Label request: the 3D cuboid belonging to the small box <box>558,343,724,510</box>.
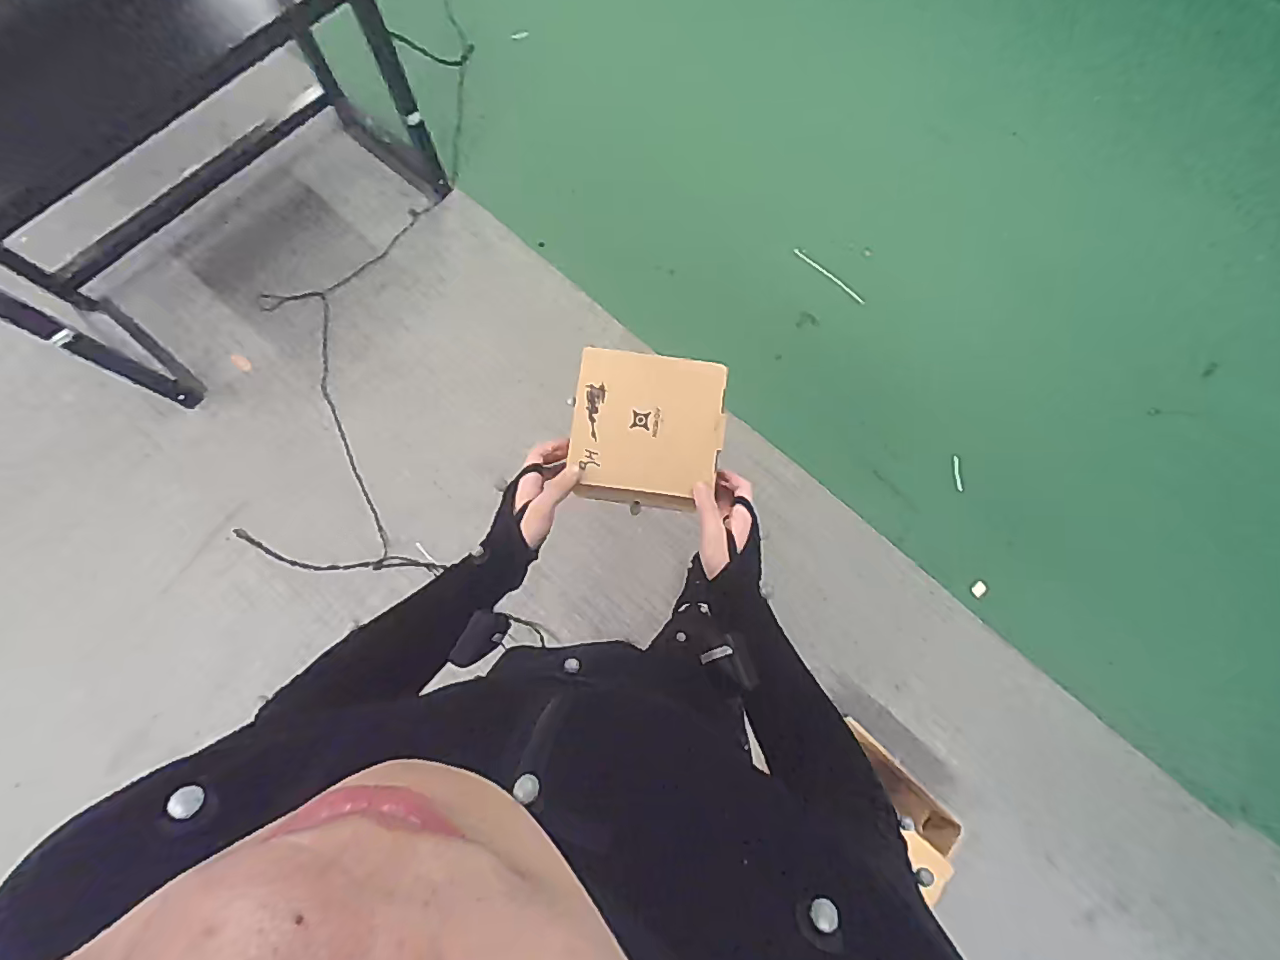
[{"bbox_3d":[-0.001,-0.057,0.703,0.179,0.176,0.168,8,80,-2],"label":"small box"}]
